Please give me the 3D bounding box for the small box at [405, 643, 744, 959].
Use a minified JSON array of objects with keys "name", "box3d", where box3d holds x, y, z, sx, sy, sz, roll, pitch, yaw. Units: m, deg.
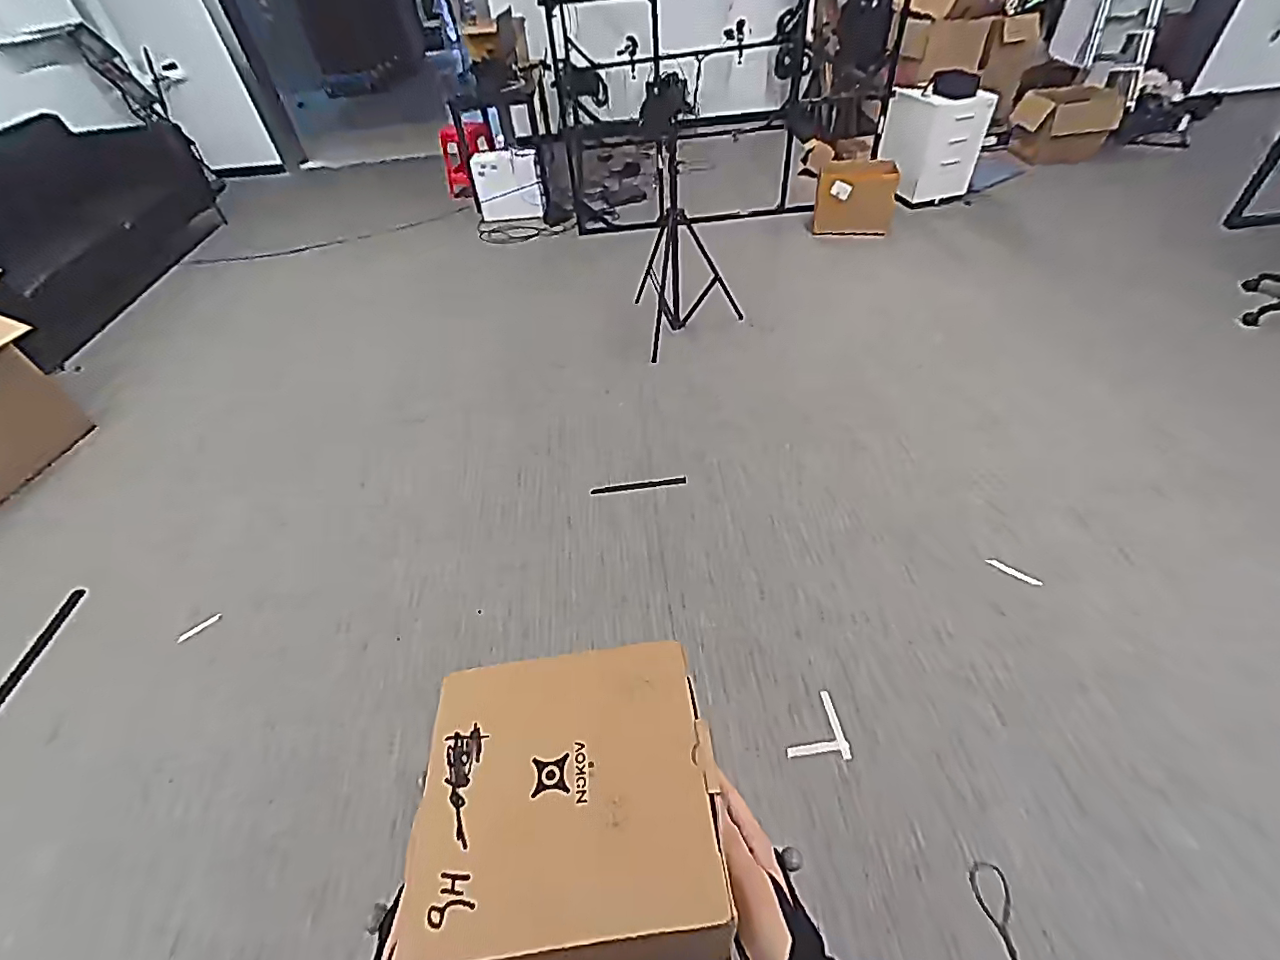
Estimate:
[{"name":"small box","box3d":[-0.037,0.241,0.385,0.179,0.176,0.168,-7,41,-3]}]
